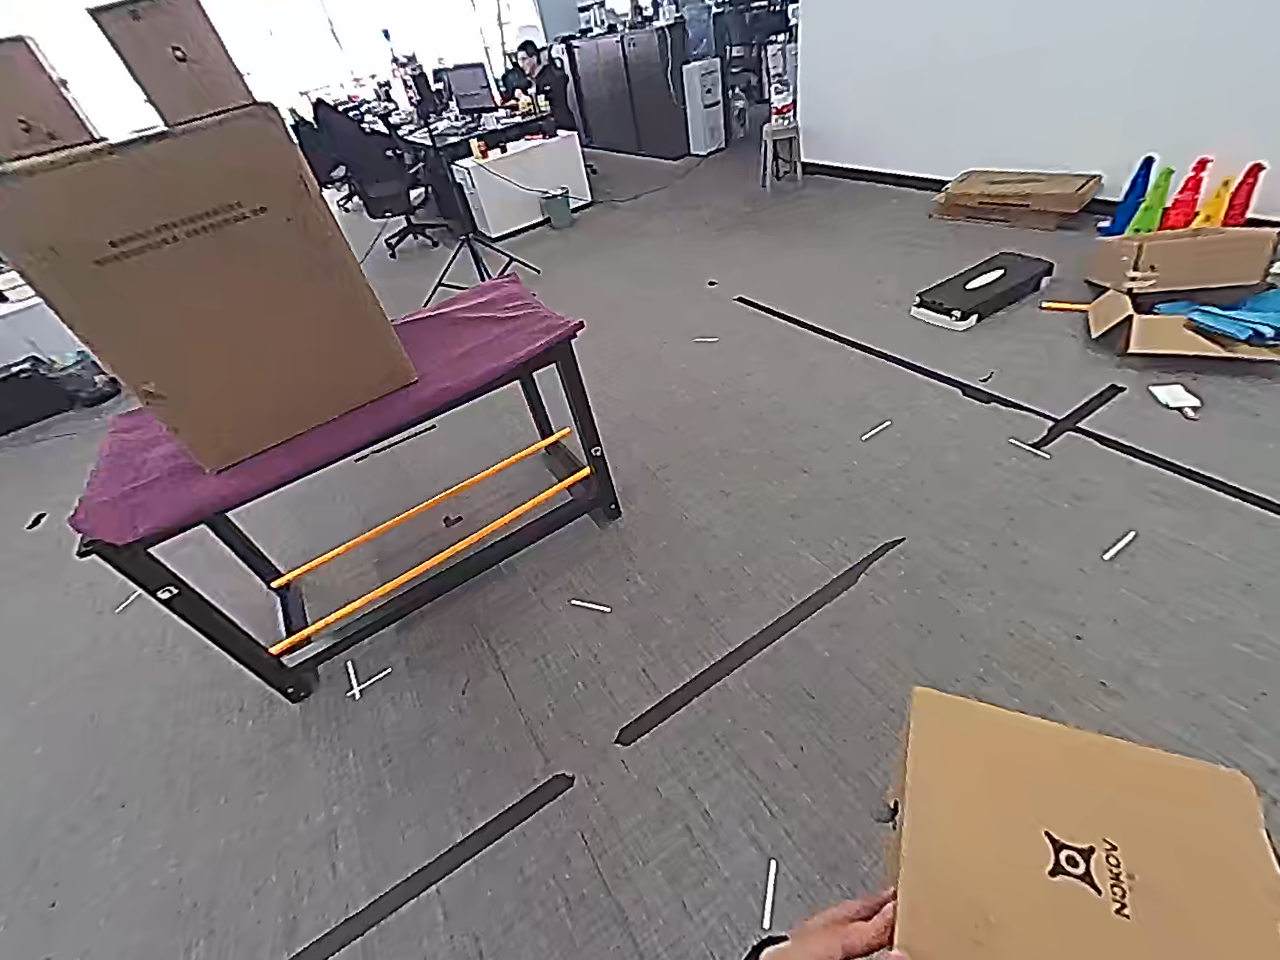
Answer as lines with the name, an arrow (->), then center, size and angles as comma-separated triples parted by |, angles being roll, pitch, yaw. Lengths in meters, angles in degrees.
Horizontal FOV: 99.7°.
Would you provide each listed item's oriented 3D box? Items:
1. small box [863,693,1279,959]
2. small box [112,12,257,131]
small box -> 0.245, 0.273, 0.342 | 0.179, 0.176, 0.168 | 8, 42, 24
small box -> -0.950, -0.860, 1.148 | 0.168, 0.176, 0.179 | -30, 44, -17
